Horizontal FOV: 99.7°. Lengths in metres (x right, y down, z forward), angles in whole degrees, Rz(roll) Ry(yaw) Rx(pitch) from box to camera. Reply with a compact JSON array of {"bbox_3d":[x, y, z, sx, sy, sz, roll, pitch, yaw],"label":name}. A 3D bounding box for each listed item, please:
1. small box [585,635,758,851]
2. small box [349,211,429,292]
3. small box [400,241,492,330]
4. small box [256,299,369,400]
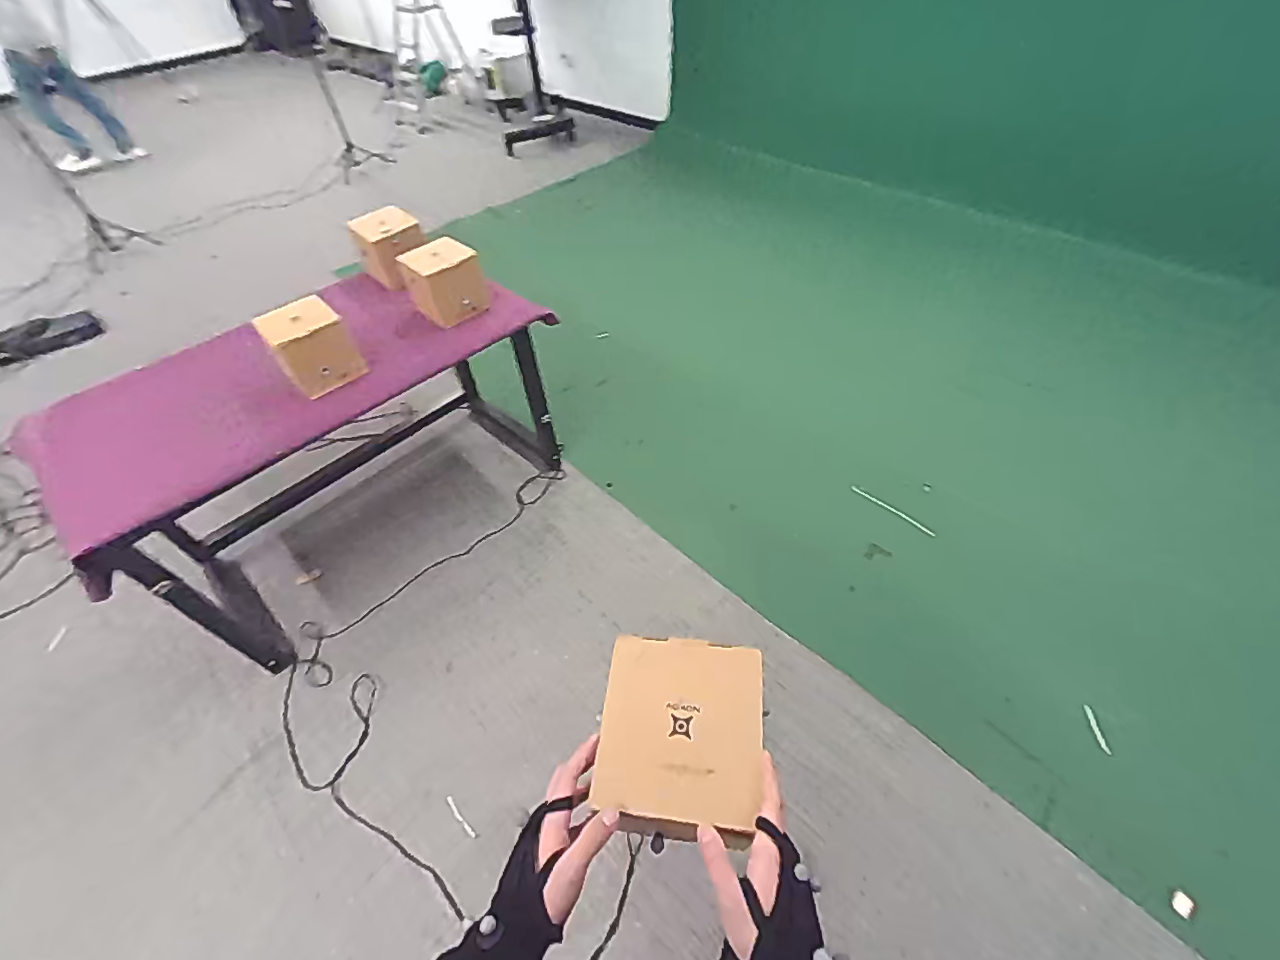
[{"bbox_3d":[0.042,0.299,0.615,0.168,0.176,0.179,3,51,8],"label":"small box"},{"bbox_3d":[-0.788,-0.733,1.740,0.179,0.176,0.168,37,62,28],"label":"small box"},{"bbox_3d":[-0.563,-0.567,1.583,0.168,0.176,0.179,-37,56,-24],"label":"small box"},{"bbox_3d":[-0.845,-0.337,1.407,0.168,0.176,0.179,-37,56,-26],"label":"small box"}]
